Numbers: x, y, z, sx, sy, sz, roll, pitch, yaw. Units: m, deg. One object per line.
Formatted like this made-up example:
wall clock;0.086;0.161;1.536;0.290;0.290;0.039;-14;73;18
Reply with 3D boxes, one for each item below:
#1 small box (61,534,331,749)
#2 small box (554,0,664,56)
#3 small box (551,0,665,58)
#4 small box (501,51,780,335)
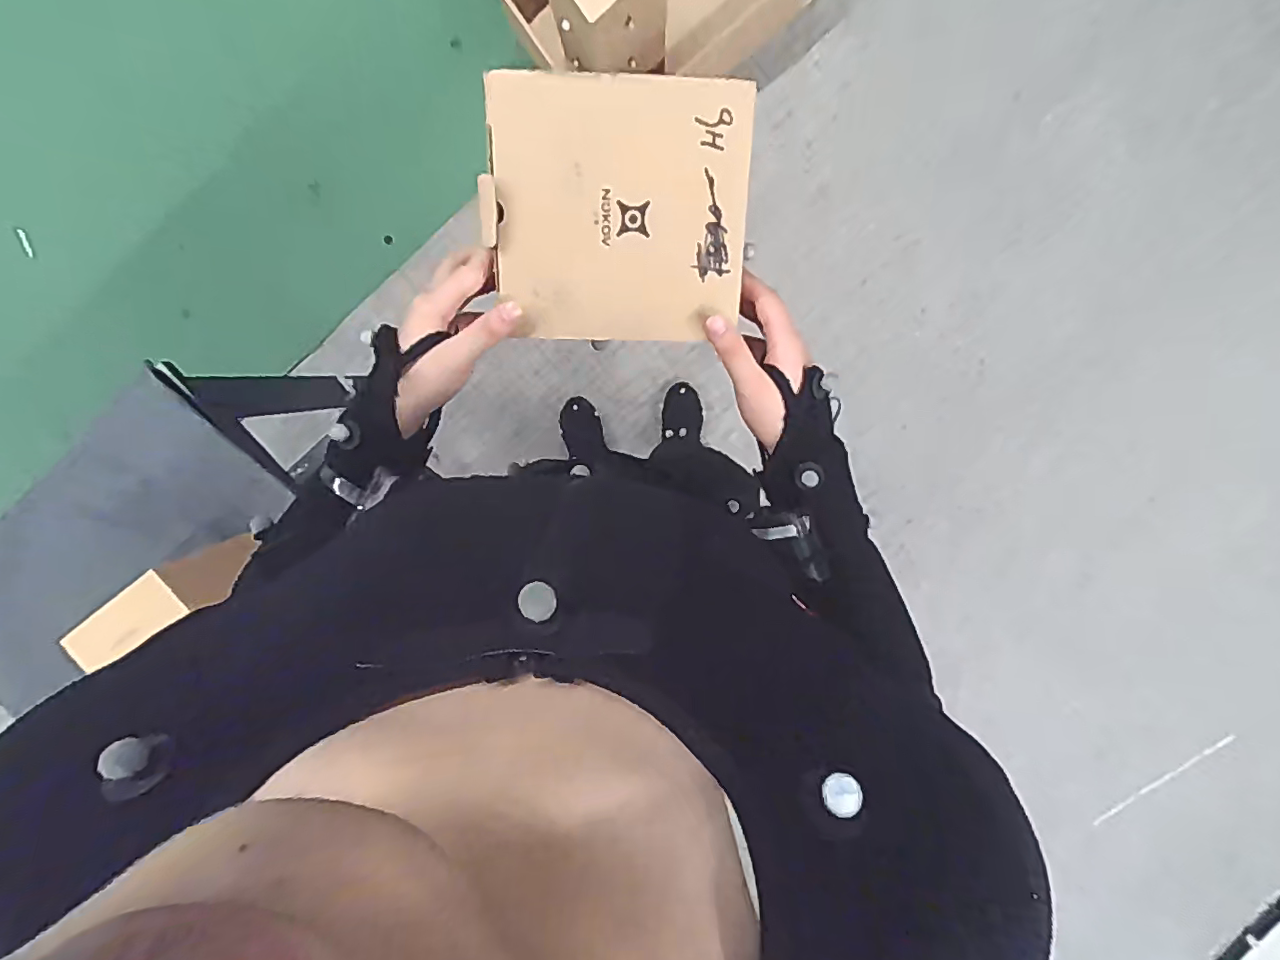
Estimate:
small box;-0.557;0.198;0.707;0.168;0.176;0.179;-35;97;8
small box;-0.062;-0.935;0.995;0.179;0.176;0.168;-36;98;8
small box;-0.062;-0.970;1.155;0.179;0.176;0.168;-37;99;7
small box;-0.005;-0.207;0.434;0.179;0.176;0.168;1;108;-3
